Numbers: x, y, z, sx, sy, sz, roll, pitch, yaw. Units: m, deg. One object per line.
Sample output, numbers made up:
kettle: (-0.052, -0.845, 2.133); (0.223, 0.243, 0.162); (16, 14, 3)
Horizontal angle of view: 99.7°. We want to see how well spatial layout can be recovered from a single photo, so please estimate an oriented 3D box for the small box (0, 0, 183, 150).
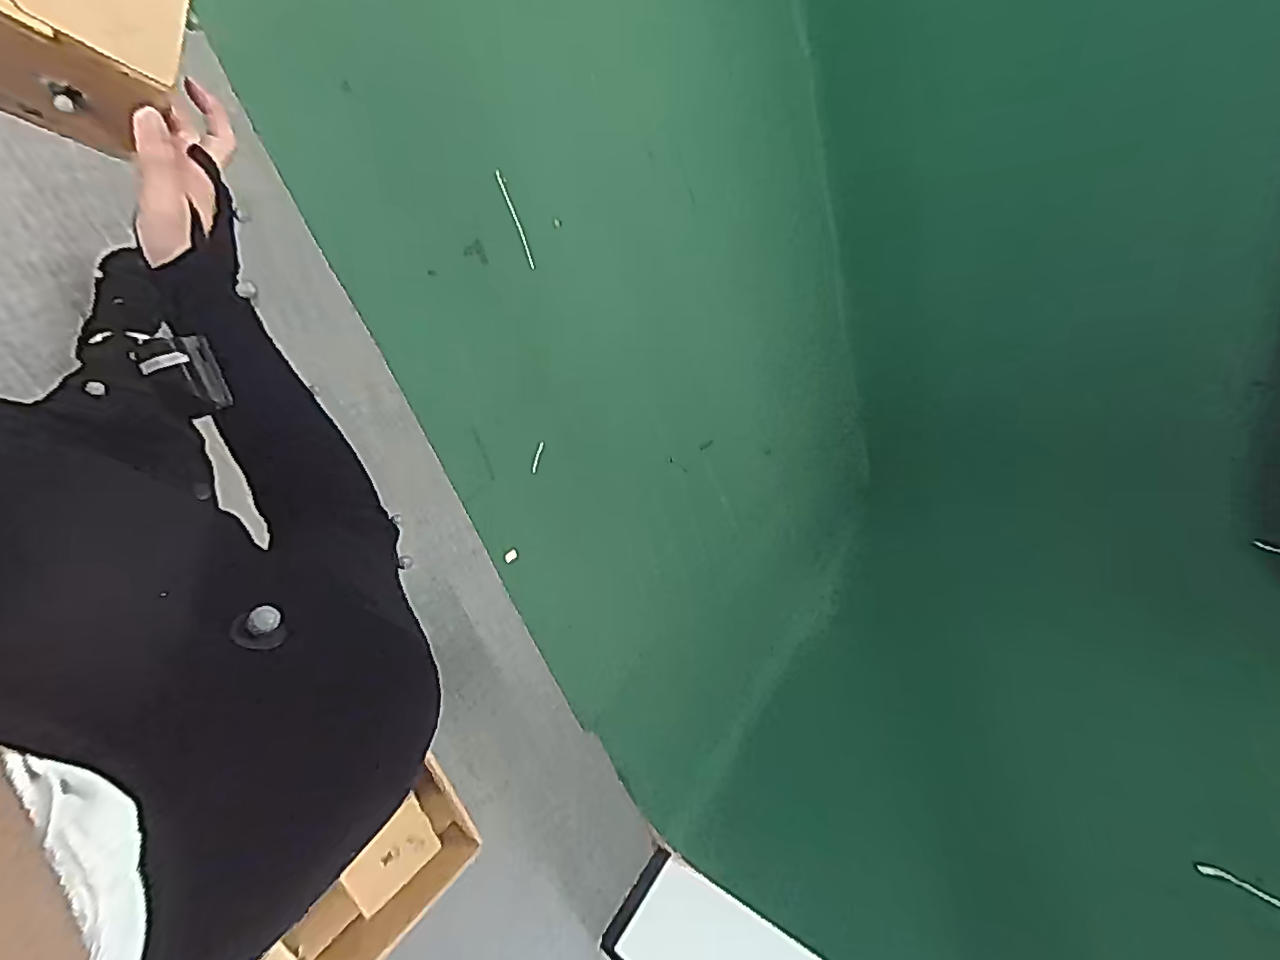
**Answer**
small box: (-0.442, -0.377, 0.380); (0.168, 0.176, 0.179); (10, 85, -52)
